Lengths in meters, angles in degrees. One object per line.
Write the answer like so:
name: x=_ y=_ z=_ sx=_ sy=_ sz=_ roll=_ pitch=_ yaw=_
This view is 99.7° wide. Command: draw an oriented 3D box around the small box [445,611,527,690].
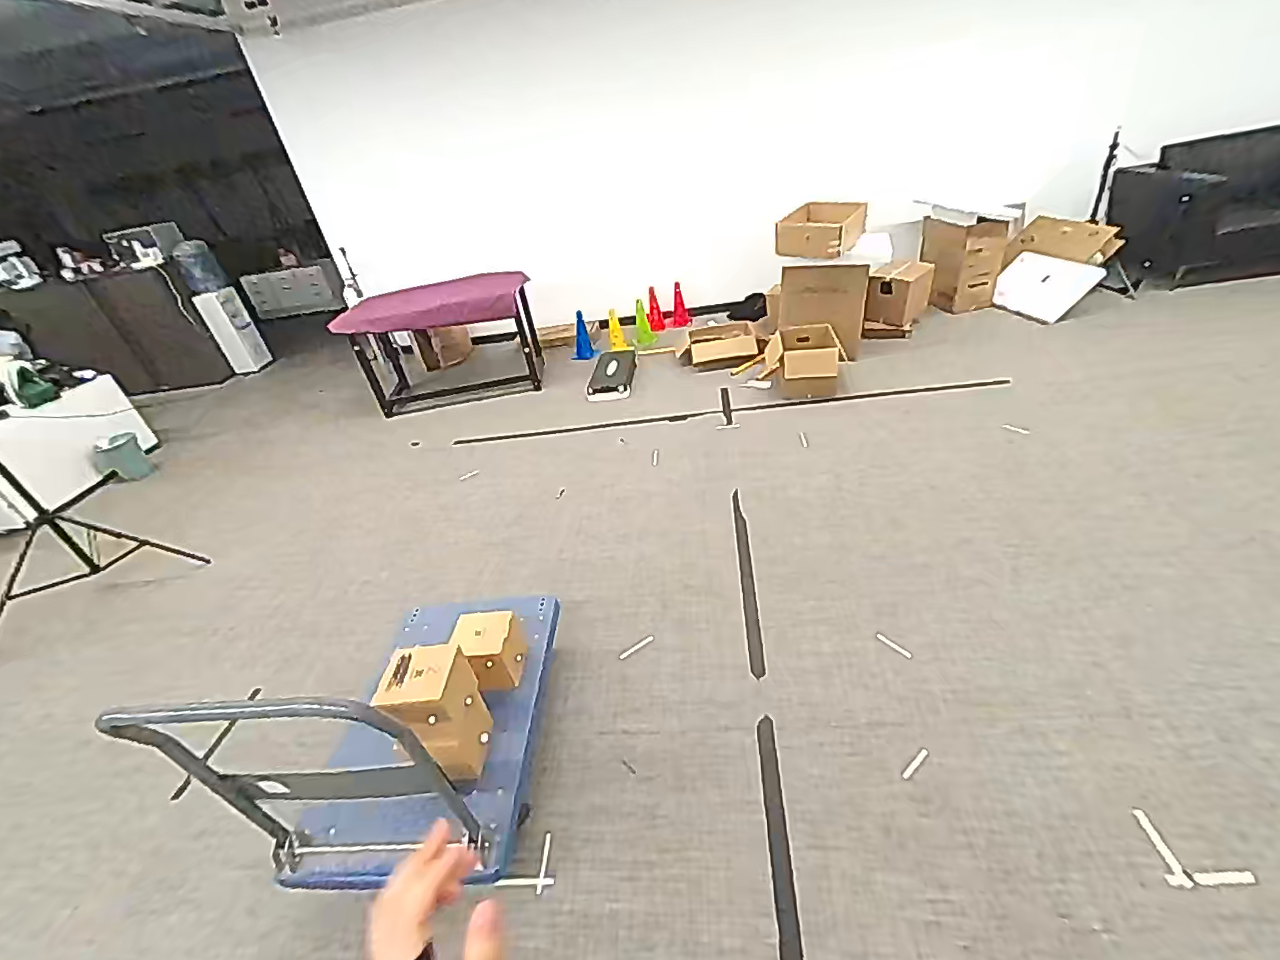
small box: x=-0.469 y=0.529 z=1.671 sx=0.179 sy=0.176 sz=0.168 roll=-6 pitch=34 yaw=6

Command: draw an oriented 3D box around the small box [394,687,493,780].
small box: x=-0.518 y=0.683 z=1.451 sx=0.179 sy=0.176 sz=0.168 roll=-6 pitch=34 yaw=5
